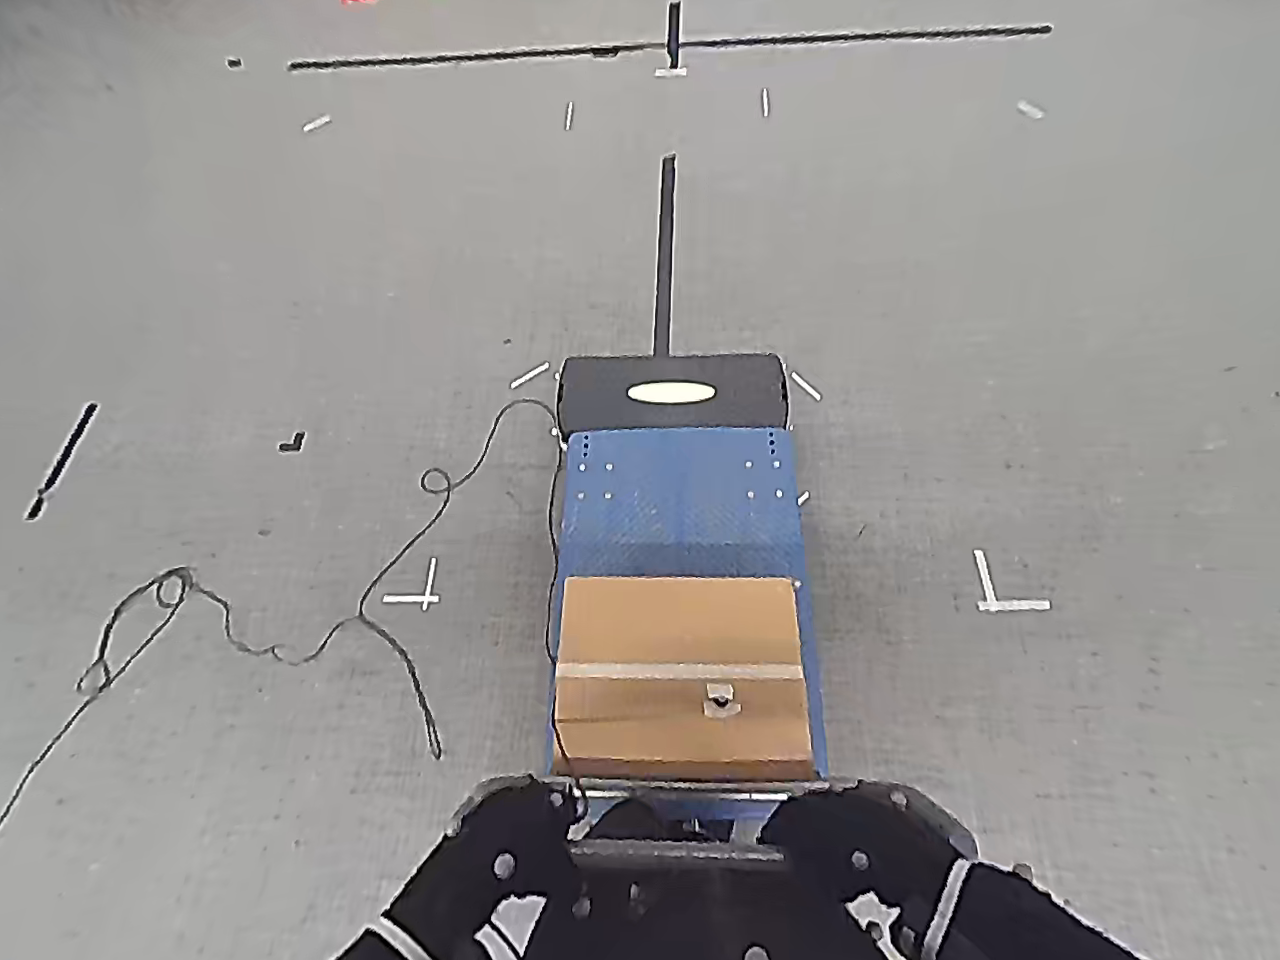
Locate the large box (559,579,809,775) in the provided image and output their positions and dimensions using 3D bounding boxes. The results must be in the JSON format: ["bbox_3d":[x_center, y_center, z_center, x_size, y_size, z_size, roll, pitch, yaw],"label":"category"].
[{"bbox_3d":[0.071,0.384,1.046,0.408,0.320,0.320,0,66,2],"label":"large box"}]
